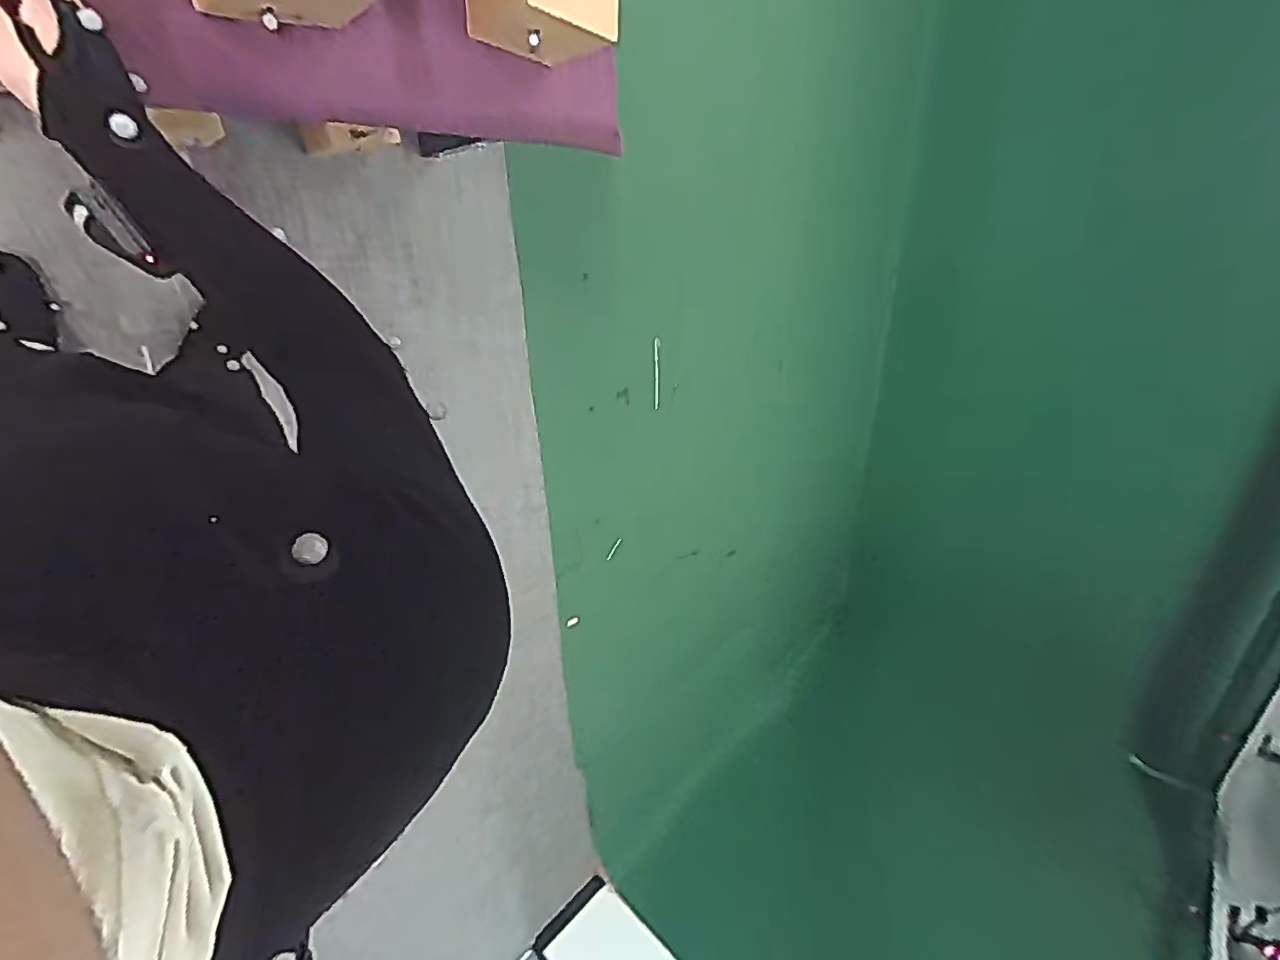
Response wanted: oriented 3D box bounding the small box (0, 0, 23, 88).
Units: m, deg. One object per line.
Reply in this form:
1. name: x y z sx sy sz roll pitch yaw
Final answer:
1. small box: -0.572 -0.394 0.363 0.179 0.176 0.168 -20 112 -38

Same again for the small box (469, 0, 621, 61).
1. small box: -0.143 -0.755 0.795 0.168 0.176 0.179 -18 117 -42

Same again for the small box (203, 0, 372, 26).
1. small box: -0.398 -0.620 0.569 0.168 0.176 0.179 -29 125 -37

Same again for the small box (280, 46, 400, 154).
1. small box: -0.698 -0.873 1.255 0.168 0.176 0.179 -32 127 -36
